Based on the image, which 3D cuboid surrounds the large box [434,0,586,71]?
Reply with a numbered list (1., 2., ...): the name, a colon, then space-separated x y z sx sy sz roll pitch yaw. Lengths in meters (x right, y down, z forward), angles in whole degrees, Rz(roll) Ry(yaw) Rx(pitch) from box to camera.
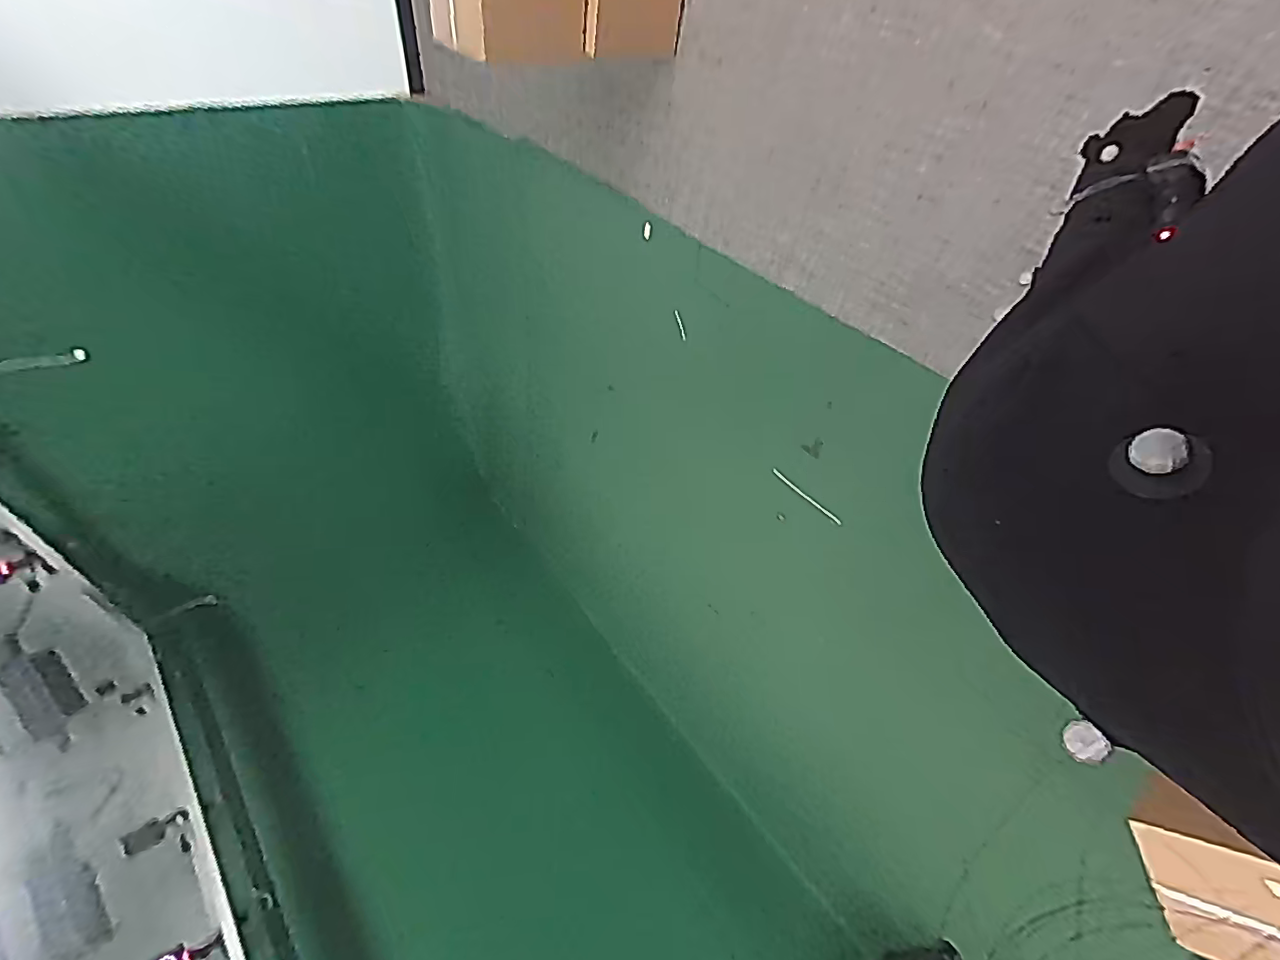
1. large box: -0.345 -1.345 1.409 0.320 0.320 0.408 46 145 29
